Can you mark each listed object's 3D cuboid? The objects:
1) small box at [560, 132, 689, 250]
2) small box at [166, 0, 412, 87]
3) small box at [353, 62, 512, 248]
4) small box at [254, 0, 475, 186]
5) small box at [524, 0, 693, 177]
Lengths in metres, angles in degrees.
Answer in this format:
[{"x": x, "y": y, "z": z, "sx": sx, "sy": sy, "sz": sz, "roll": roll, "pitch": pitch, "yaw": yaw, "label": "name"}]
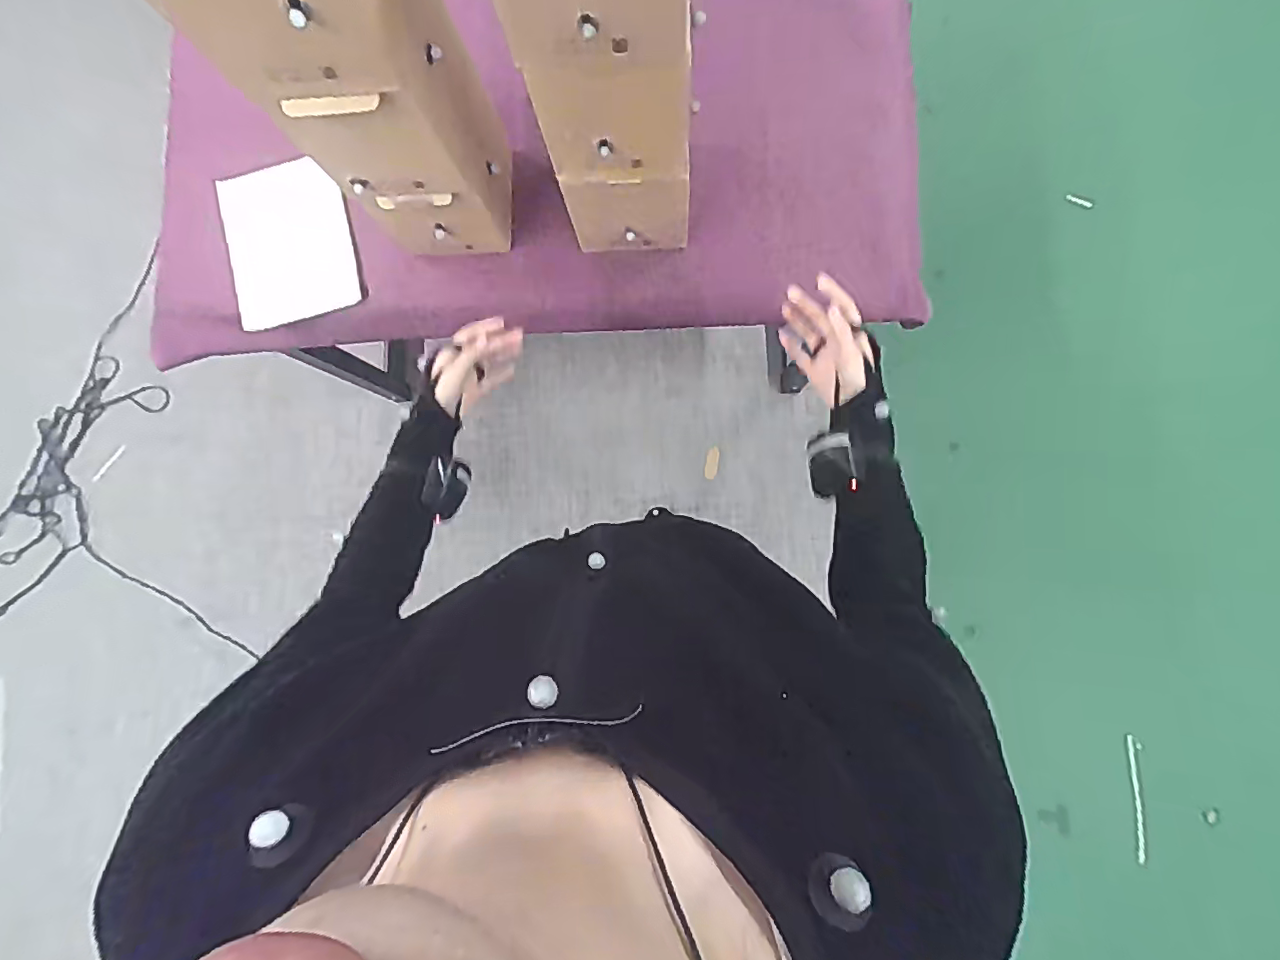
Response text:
[{"x": -0.014, "y": -0.454, "z": 0.768, "sx": 0.168, "sy": 0.176, "sz": 0.179, "roll": -1, "pitch": 84, "yaw": 5, "label": "small box"}, {"x": -0.309, "y": -0.473, "z": 0.459, "sx": 0.168, "sy": 0.176, "sz": 0.179, "roll": 0, "pitch": 84, "yaw": 3, "label": "small box"}, {"x": -0.289, "y": -0.455, "z": 0.787, "sx": 0.168, "sy": 0.176, "sz": 0.179, "roll": -1, "pitch": 86, "yaw": 3, "label": "small box"}, {"x": -0.299, "y": -0.463, "z": 0.622, "sx": 0.168, "sy": 0.176, "sz": 0.179, "roll": 0, "pitch": 84, "yaw": 4, "label": "small box"}, {"x": -0.027, "y": -0.476, "z": 0.607, "sx": 0.168, "sy": 0.176, "sz": 0.179, "roll": 0, "pitch": 84, "yaw": 3, "label": "small box"}]
